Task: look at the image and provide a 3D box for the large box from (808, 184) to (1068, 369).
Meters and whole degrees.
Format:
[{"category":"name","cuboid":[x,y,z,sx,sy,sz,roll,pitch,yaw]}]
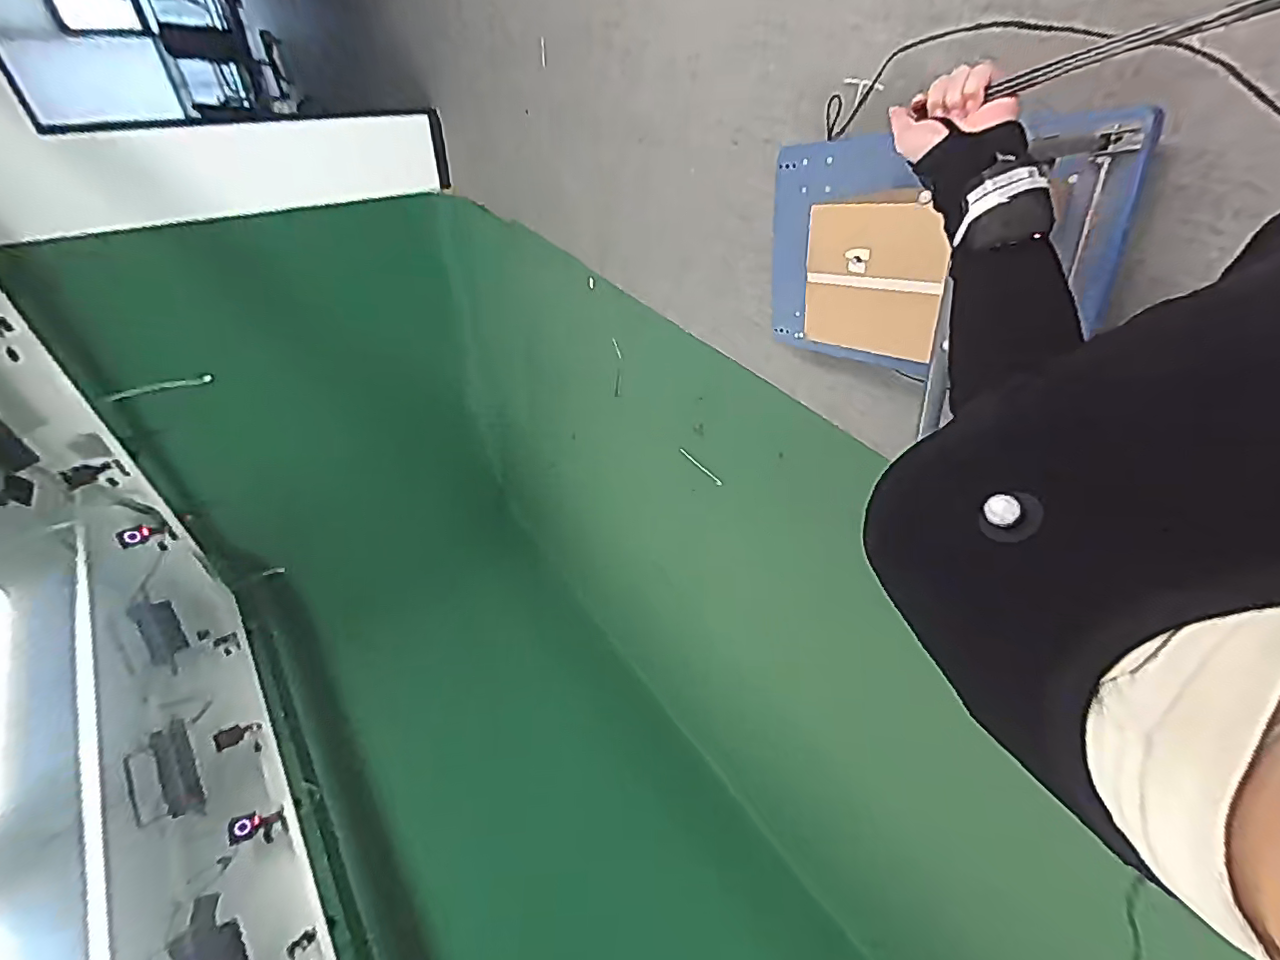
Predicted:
[{"category":"large box","cuboid":[0.649,-0.475,1.231,0.408,0.320,0.320,31,136,47]}]
